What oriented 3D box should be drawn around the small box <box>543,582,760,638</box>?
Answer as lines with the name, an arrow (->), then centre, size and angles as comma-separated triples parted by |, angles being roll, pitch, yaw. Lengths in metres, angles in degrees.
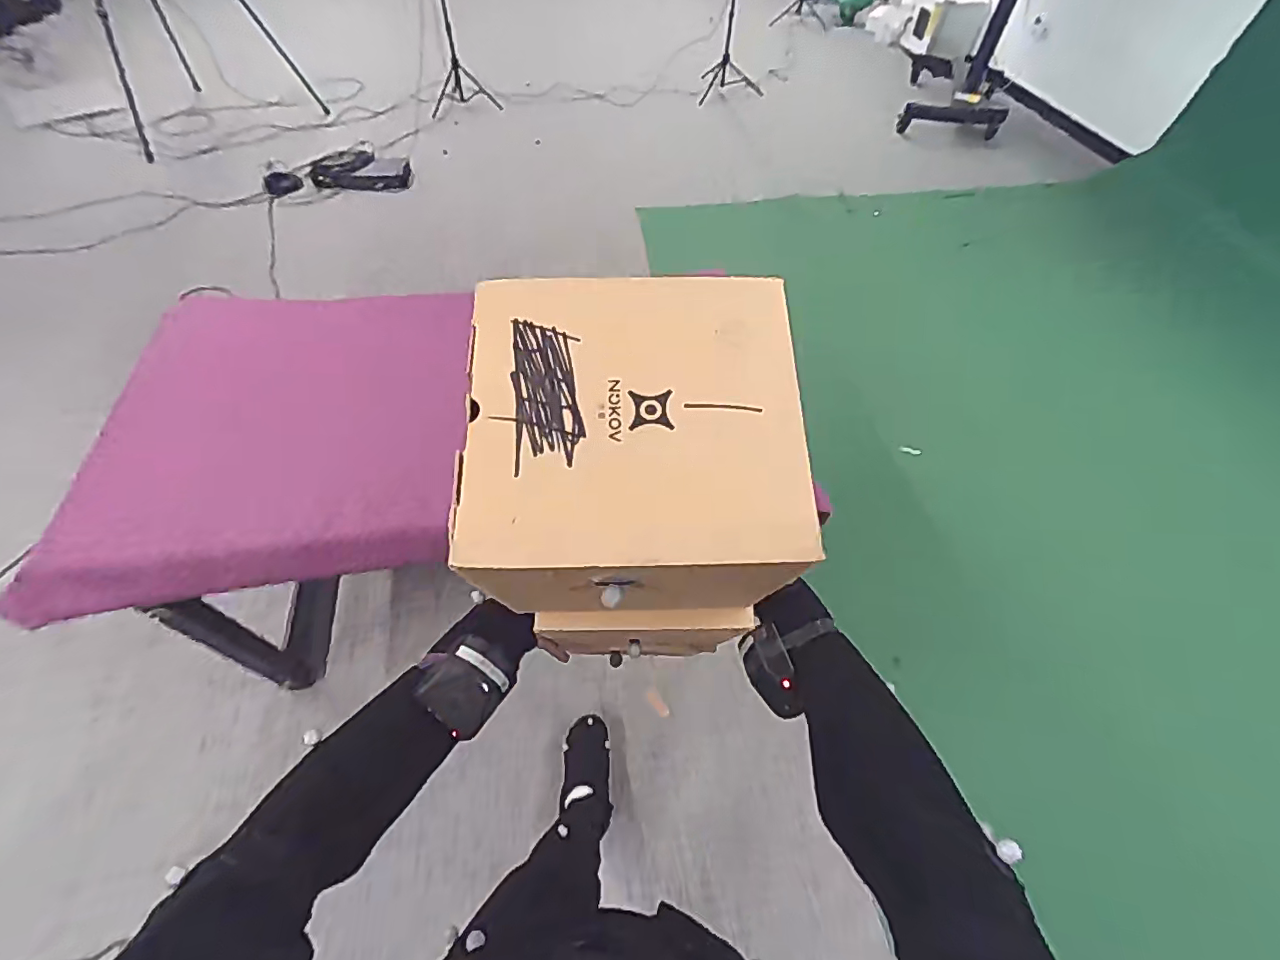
small box -> 0.008, 0.053, 0.503 | 0.168, 0.176, 0.179 | 0, 69, -2

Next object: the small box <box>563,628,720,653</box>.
small box -> 0.003, 0.115, 0.656 | 0.168, 0.176, 0.179 | 1, 69, -1

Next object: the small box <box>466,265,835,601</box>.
small box -> 0.002, -0.015, 0.353 | 0.179, 0.176, 0.168 | -1, 70, -3
